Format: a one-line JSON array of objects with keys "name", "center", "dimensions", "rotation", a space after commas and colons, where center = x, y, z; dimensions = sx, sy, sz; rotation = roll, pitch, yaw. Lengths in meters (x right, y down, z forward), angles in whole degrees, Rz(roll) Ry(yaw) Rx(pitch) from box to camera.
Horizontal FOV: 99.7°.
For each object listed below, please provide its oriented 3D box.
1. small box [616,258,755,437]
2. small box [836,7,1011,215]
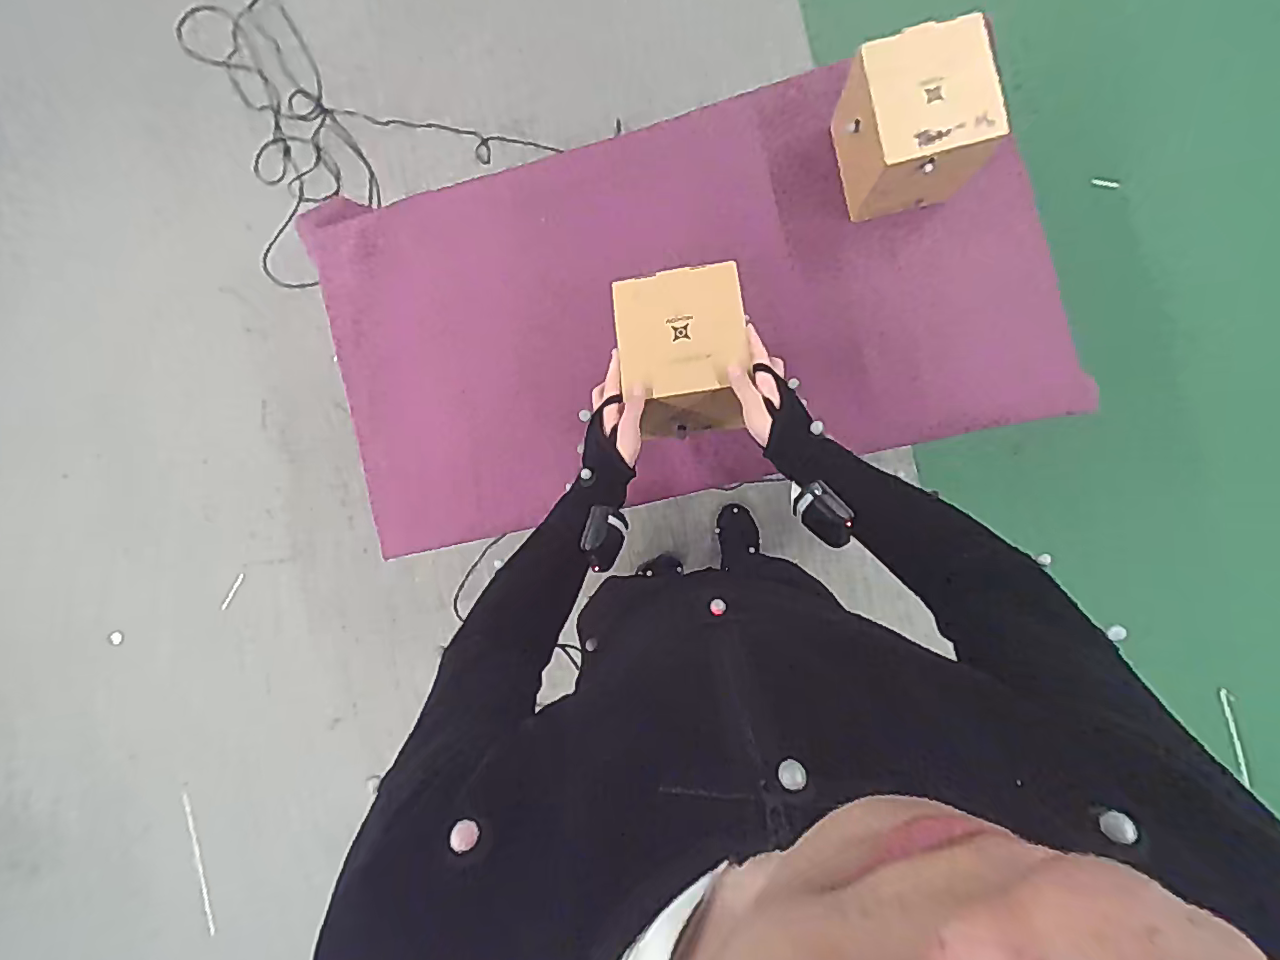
[{"name": "small box", "center": [0.063, -0.175, 0.756], "dimensions": [0.168, 0.176, 0.179], "rotation": [-7, 76, 7]}, {"name": "small box", "center": [0.407, -0.537, 0.810], "dimensions": [0.168, 0.176, 0.179], "rotation": [-11, 88, 6]}]
